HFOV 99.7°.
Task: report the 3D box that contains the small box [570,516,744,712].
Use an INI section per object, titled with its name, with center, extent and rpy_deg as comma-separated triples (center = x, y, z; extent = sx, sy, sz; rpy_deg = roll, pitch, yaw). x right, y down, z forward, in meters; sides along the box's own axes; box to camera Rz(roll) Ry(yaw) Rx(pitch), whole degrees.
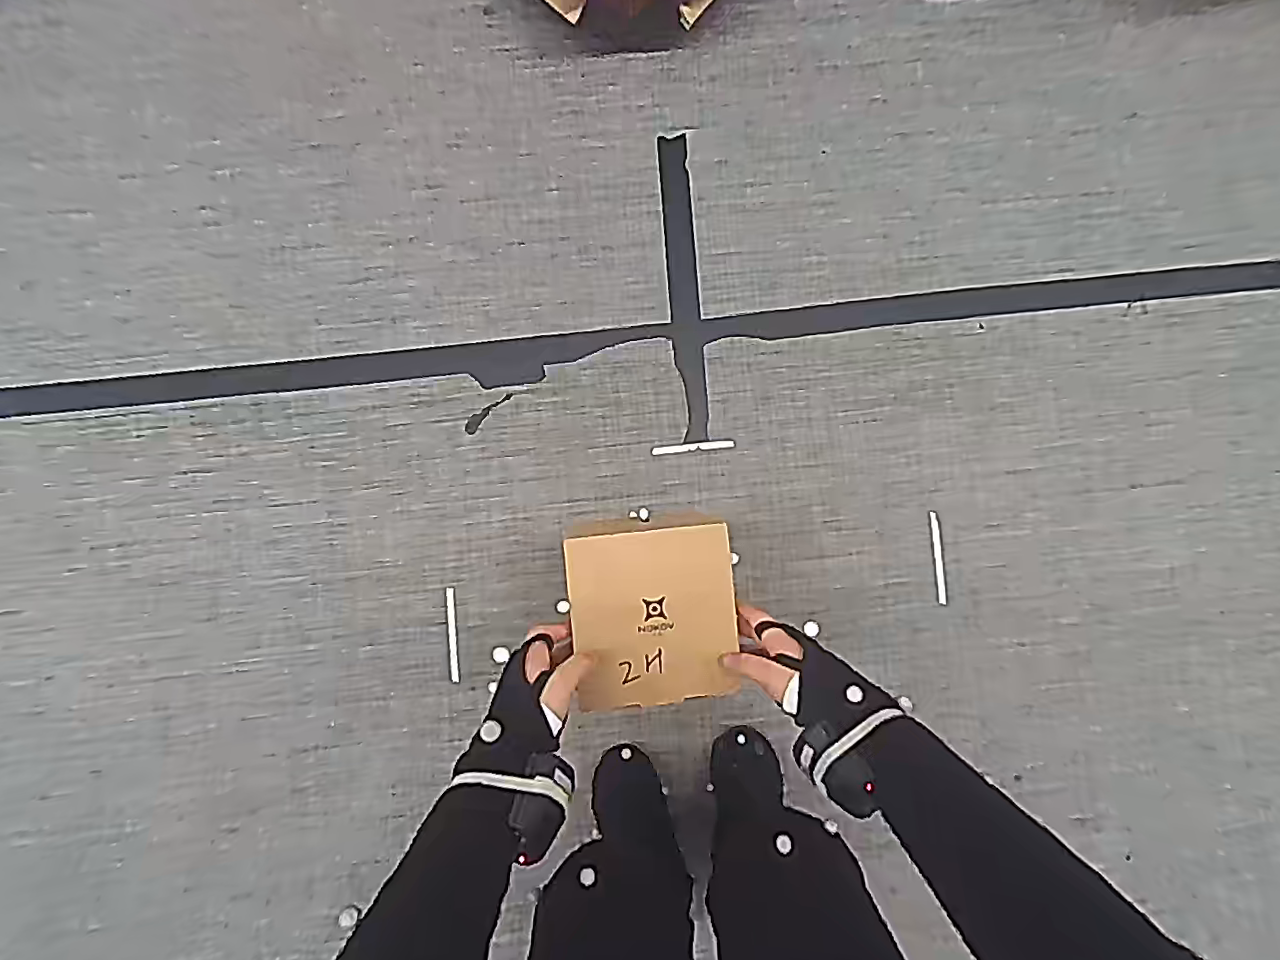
[small box]
center = 0.010, 0.134, 0.611
extent = 0.168, 0.176, 0.179
rpy_deg = -5, 91, -4
